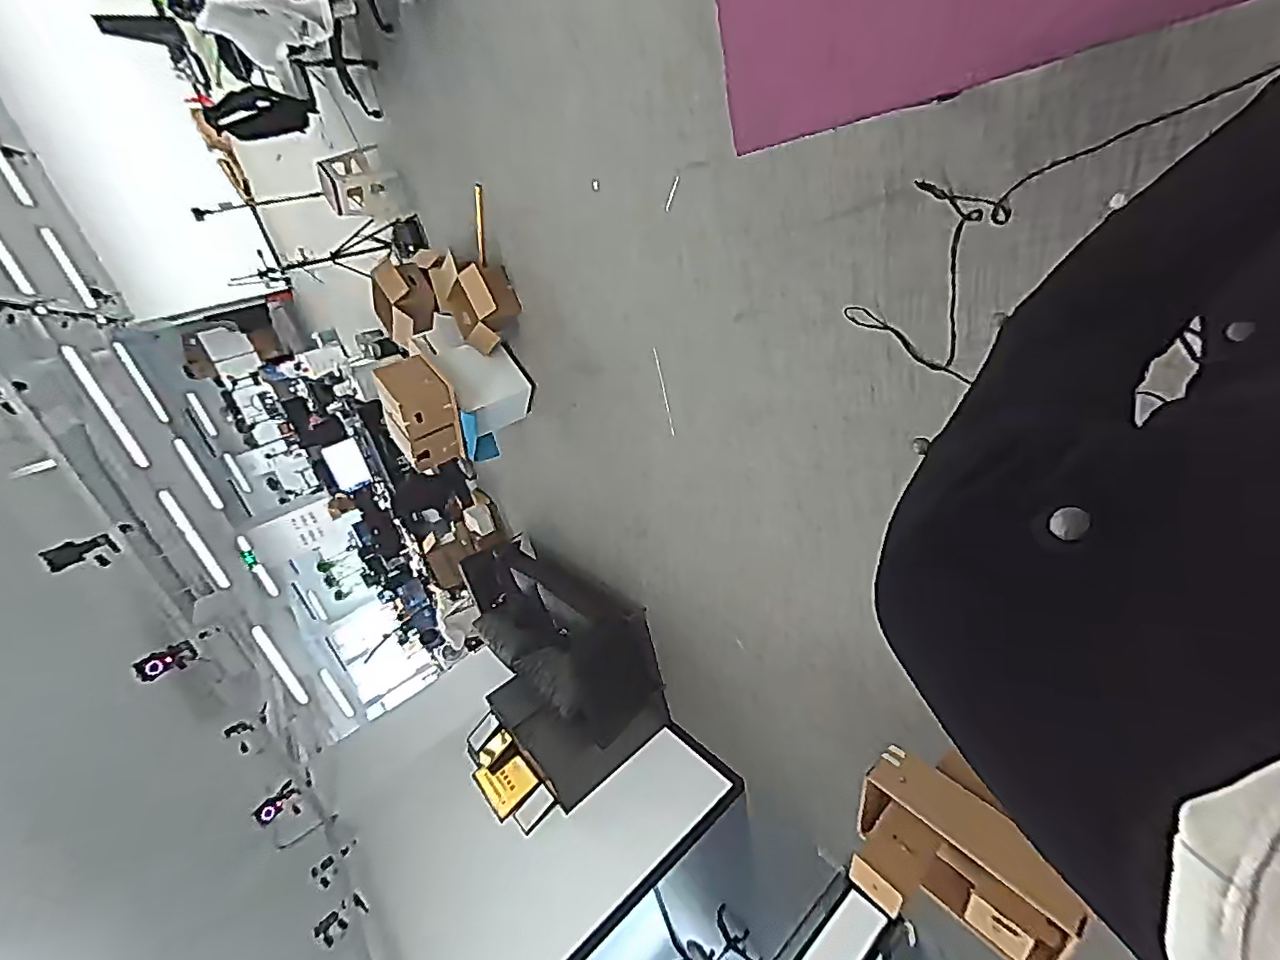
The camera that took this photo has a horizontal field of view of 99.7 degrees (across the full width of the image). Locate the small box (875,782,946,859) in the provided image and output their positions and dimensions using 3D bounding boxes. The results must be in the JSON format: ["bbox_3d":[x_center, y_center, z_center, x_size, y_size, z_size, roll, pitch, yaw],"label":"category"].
[{"bbox_3d":[0.925,1.195,1.863,0.168,0.176,0.179,30,138,41],"label":"small box"}]

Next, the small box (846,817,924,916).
[{"bbox_3d":[0.806,1.265,1.777,0.168,0.176,0.179,29,137,41],"label":"small box"}]
